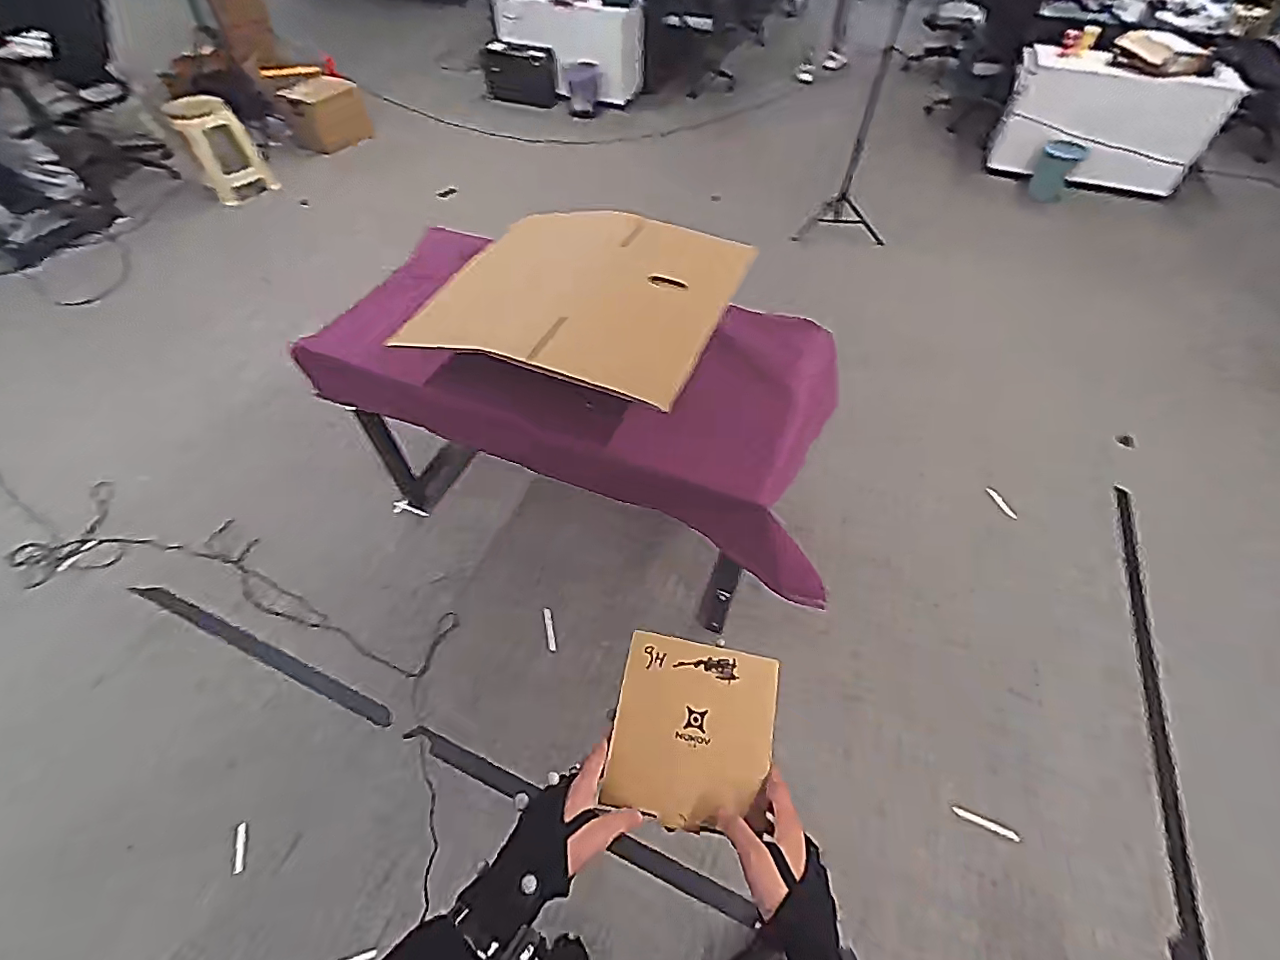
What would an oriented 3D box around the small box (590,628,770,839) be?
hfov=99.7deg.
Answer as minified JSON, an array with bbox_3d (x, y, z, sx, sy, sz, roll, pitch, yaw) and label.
[{"bbox_3d":[0.047,0.293,0.641,0.168,0.176,0.179,11,65,5],"label":"small box"}]
